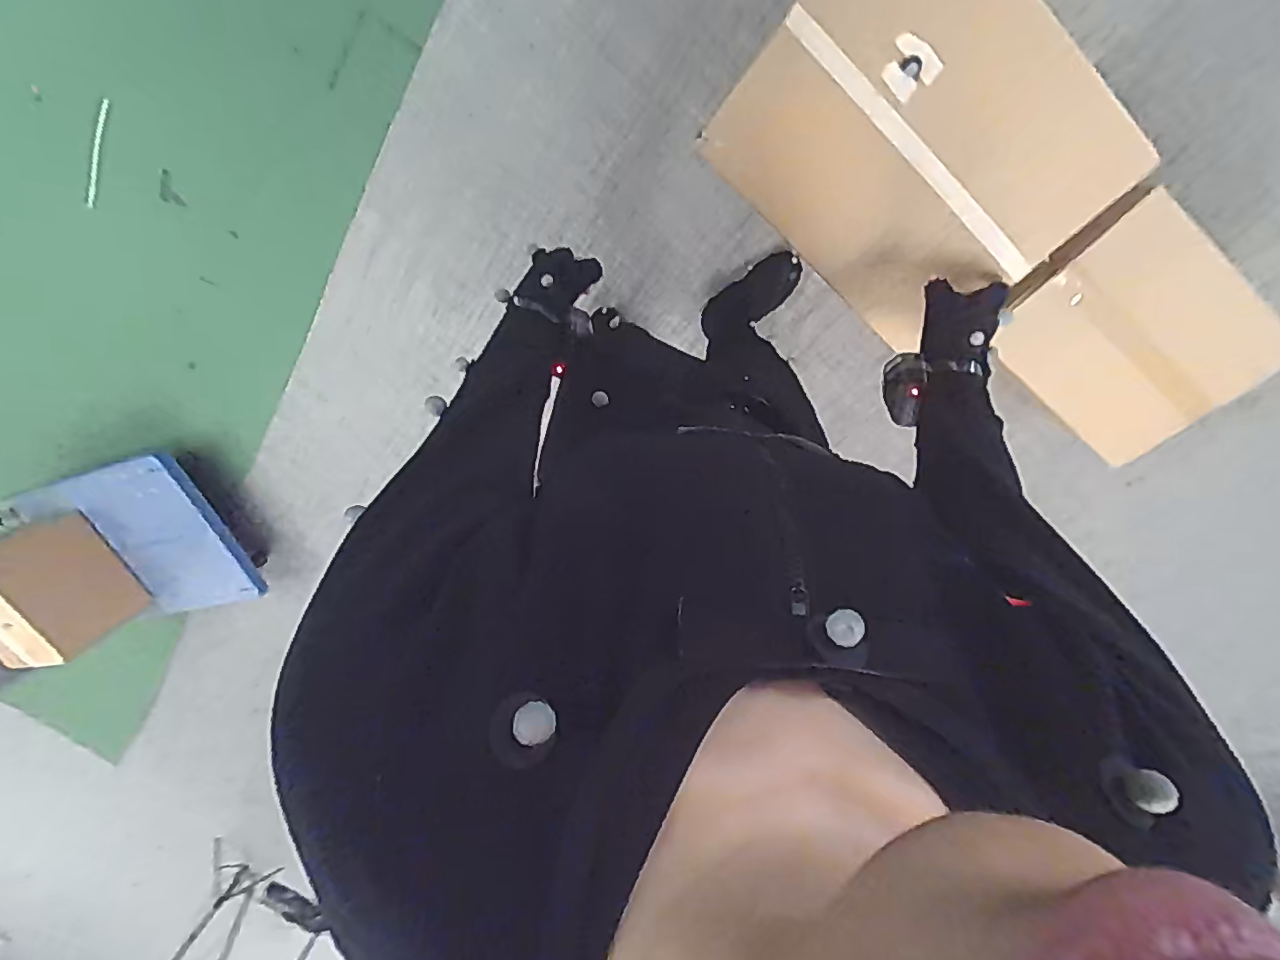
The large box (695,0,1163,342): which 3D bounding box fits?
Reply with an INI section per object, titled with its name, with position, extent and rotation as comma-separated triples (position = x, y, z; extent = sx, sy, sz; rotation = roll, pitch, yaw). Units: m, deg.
[large box]
position = 0.343, -0.467, 0.731
extent = 0.408, 0.320, 0.320
rotation = 41, 122, -10
